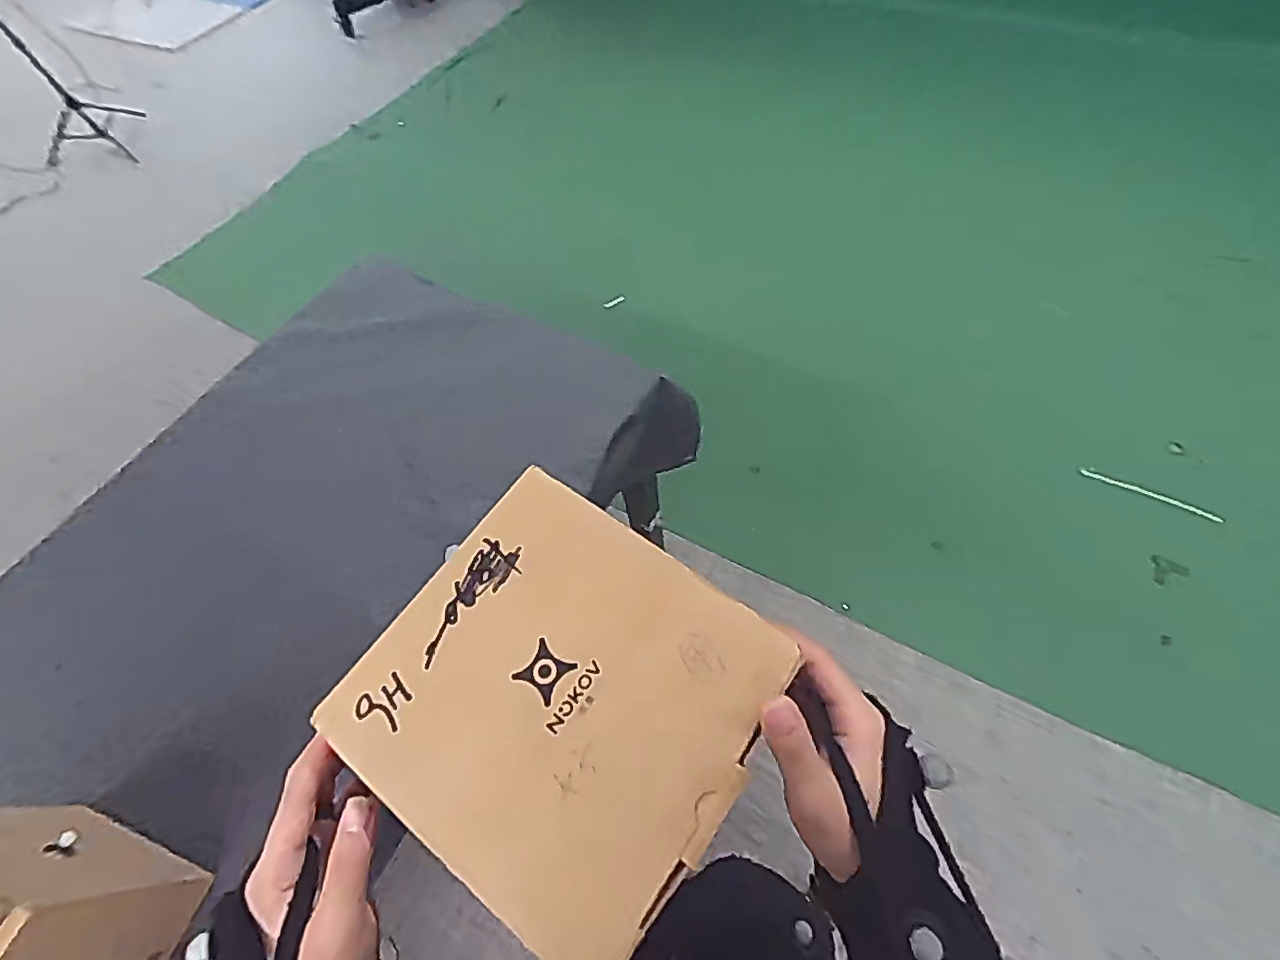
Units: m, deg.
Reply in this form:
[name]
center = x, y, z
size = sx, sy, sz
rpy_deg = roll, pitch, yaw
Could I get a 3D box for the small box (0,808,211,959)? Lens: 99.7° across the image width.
[small box]
center = -0.506, 0.373, 0.418
size = 0.179, 0.176, 0.168
rpy_deg = 15, 63, 12
